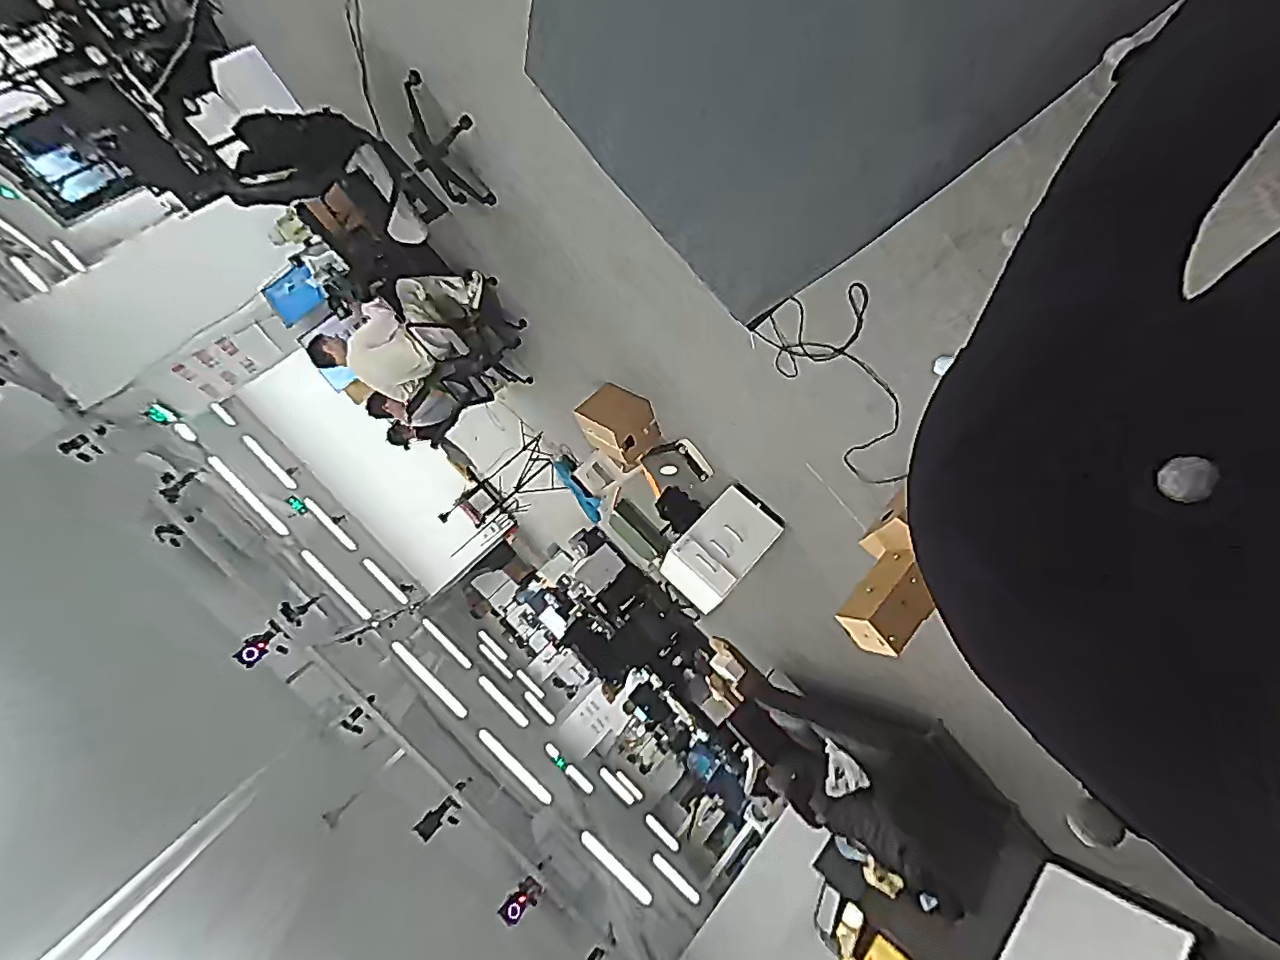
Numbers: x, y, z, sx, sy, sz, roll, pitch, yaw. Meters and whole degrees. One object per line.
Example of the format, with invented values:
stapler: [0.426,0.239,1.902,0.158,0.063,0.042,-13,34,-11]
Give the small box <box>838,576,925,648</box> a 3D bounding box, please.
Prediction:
small box: [0.834,0.448,1.864,0.168,0.176,0.179,47,163,-7]
